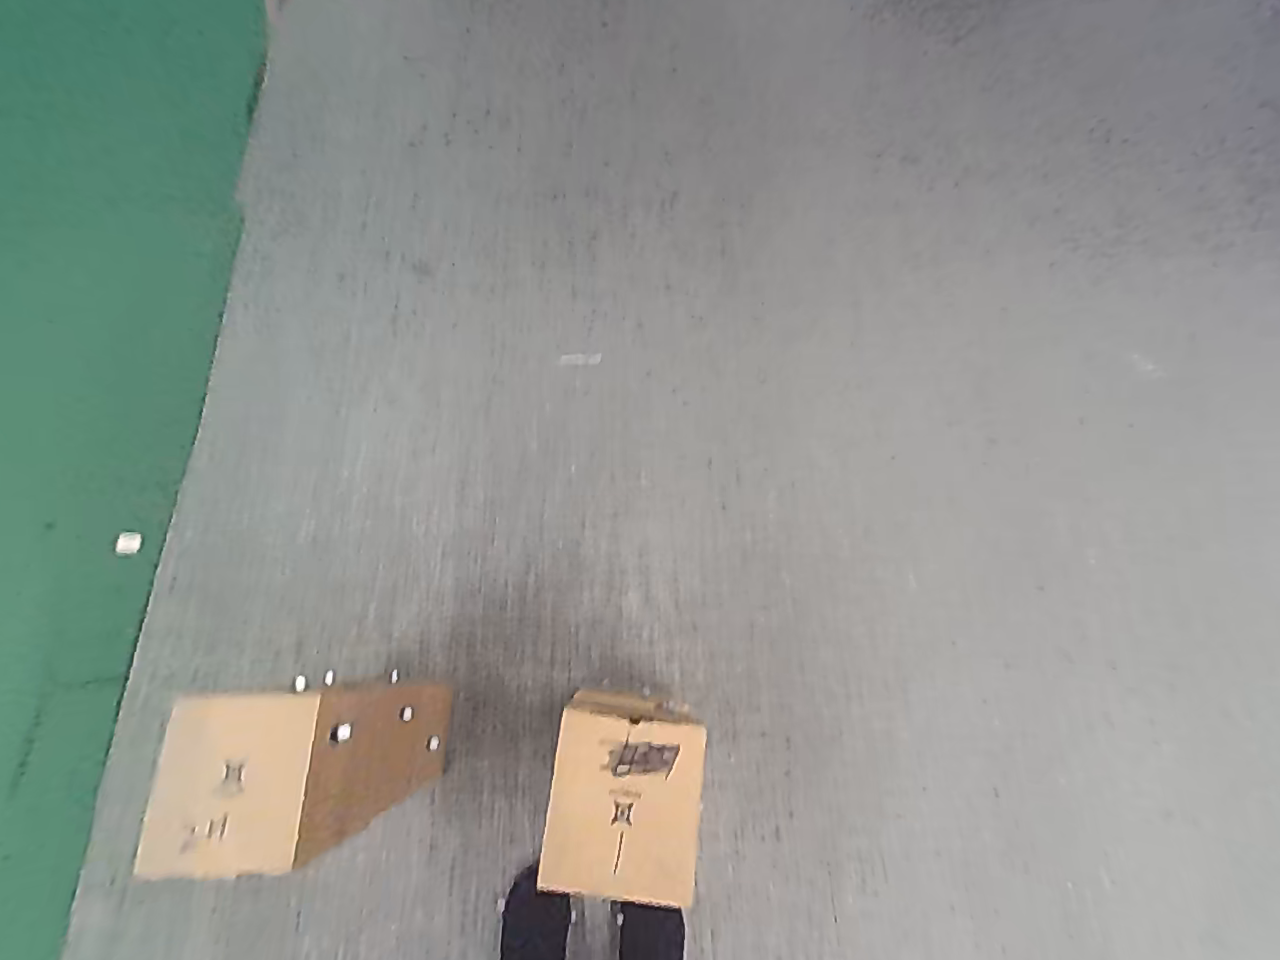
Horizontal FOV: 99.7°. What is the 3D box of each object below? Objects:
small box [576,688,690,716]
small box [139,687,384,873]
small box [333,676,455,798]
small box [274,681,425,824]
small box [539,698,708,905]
[{"bbox_3d":[-0.020,0.415,0.816,0.168,0.176,0.179,5,72,1],"label":"small box"},{"bbox_3d":[-0.434,0.347,0.657,0.168,0.176,0.179,-2,71,0],"label":"small box"},{"bbox_3d":[-0.445,0.450,0.968,0.168,0.176,0.179,2,72,0],"label":"small box"},{"bbox_3d":[-0.439,0.398,0.814,0.168,0.176,0.179,-2,72,0],"label":"small box"},{"bbox_3d":[-0.016,0.370,0.658,0.168,0.176,0.179,7,73,1],"label":"small box"}]
